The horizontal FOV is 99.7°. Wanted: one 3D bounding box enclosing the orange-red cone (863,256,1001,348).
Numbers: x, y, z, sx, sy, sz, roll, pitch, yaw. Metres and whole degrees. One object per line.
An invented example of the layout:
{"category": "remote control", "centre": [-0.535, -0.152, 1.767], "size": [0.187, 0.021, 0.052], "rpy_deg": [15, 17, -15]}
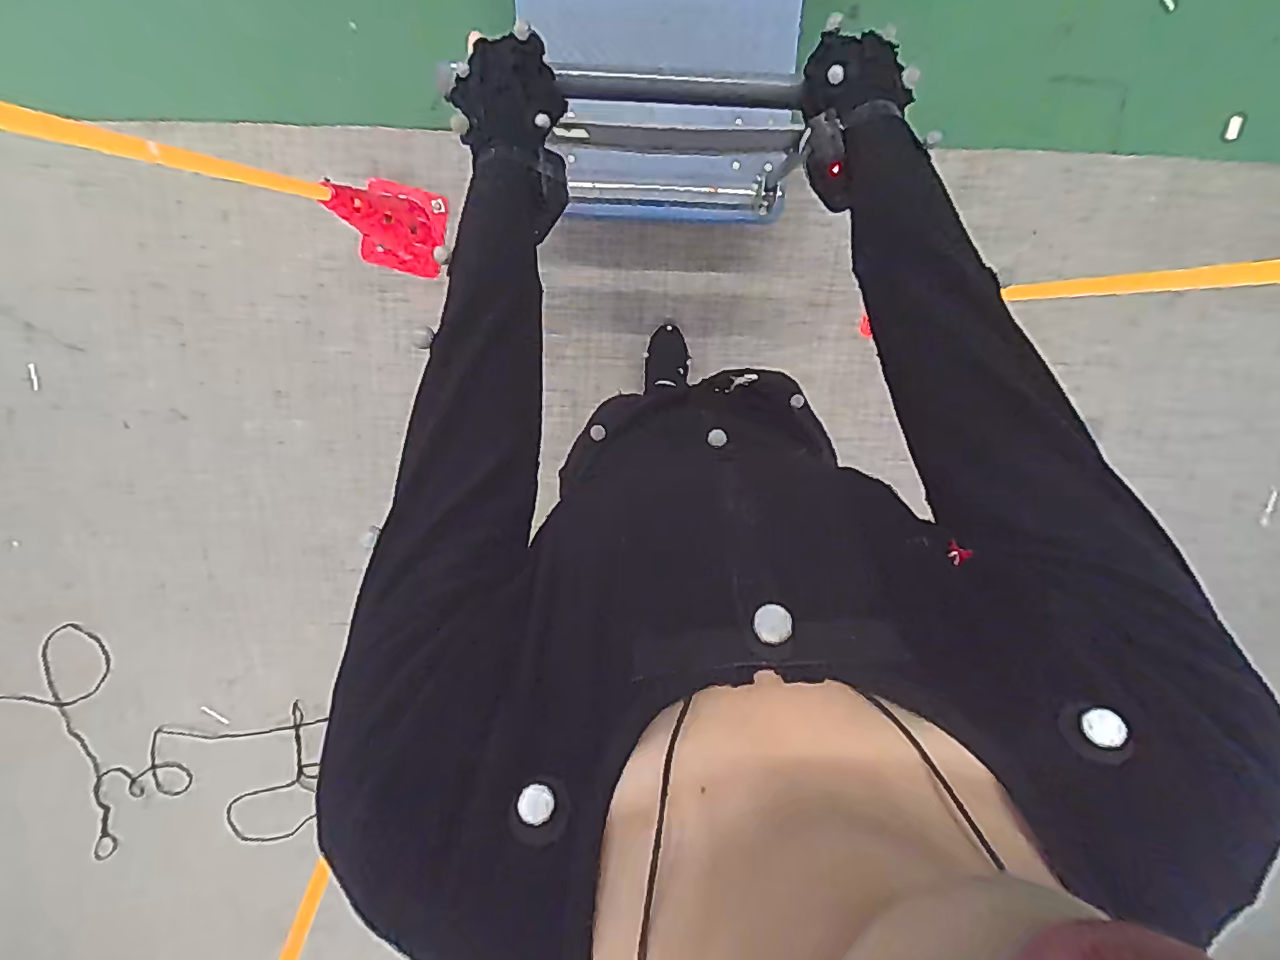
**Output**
{"category": "orange-red cone", "centre": [0.690, -0.408, 1.223], "size": [0.198, 0.360, 0.199], "rpy_deg": [13, 106, -3]}
